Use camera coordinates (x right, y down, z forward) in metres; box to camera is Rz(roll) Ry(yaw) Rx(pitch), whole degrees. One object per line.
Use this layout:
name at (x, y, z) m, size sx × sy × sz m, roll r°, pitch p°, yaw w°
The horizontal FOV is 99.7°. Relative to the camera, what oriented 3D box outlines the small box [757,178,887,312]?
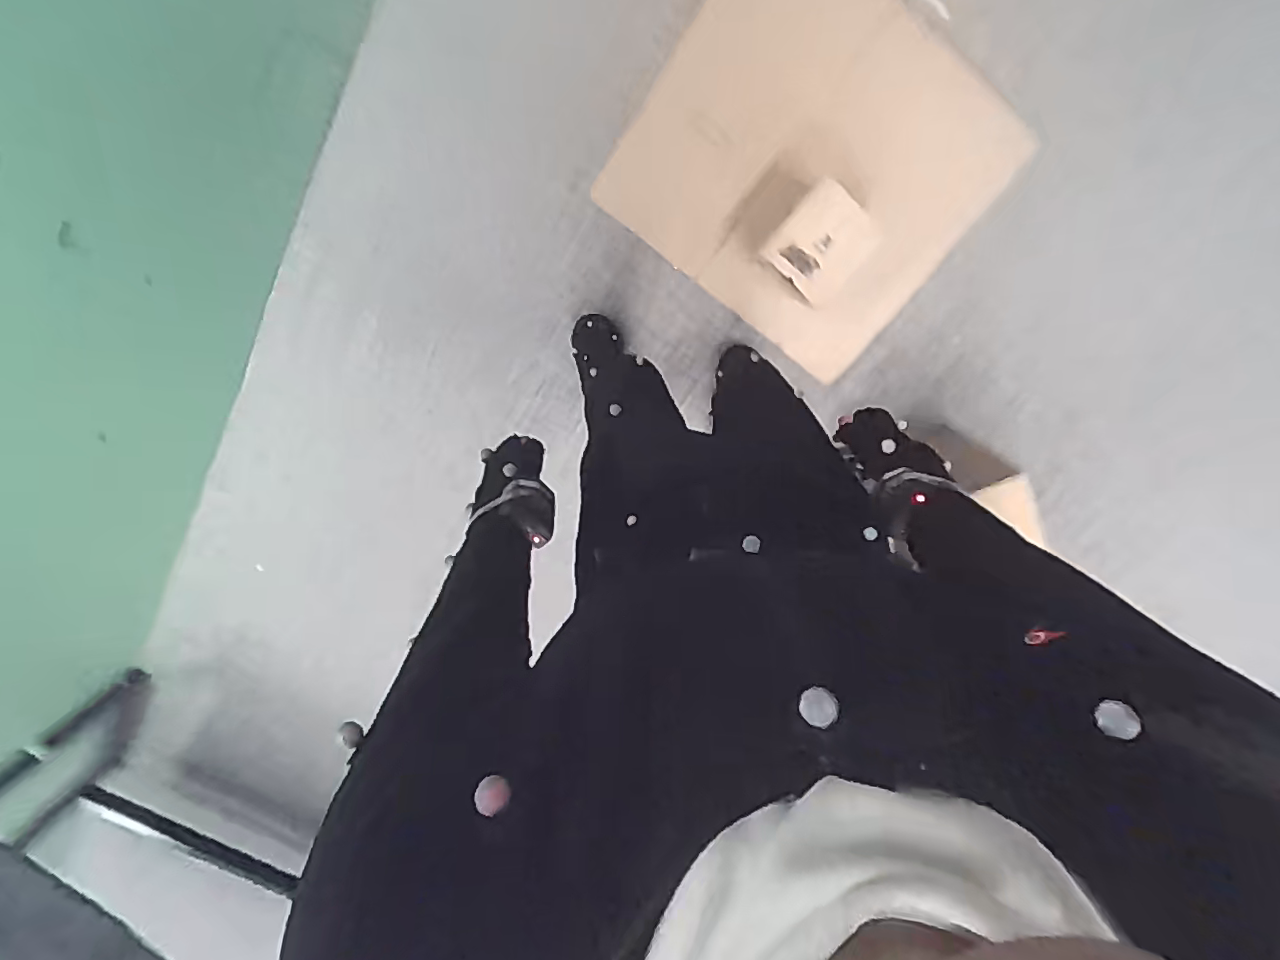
small box at (0.354, -0.466, 1.093) m, size 0.168 × 0.176 × 0.179 m, roll 41°, pitch 108°, yaw -11°
